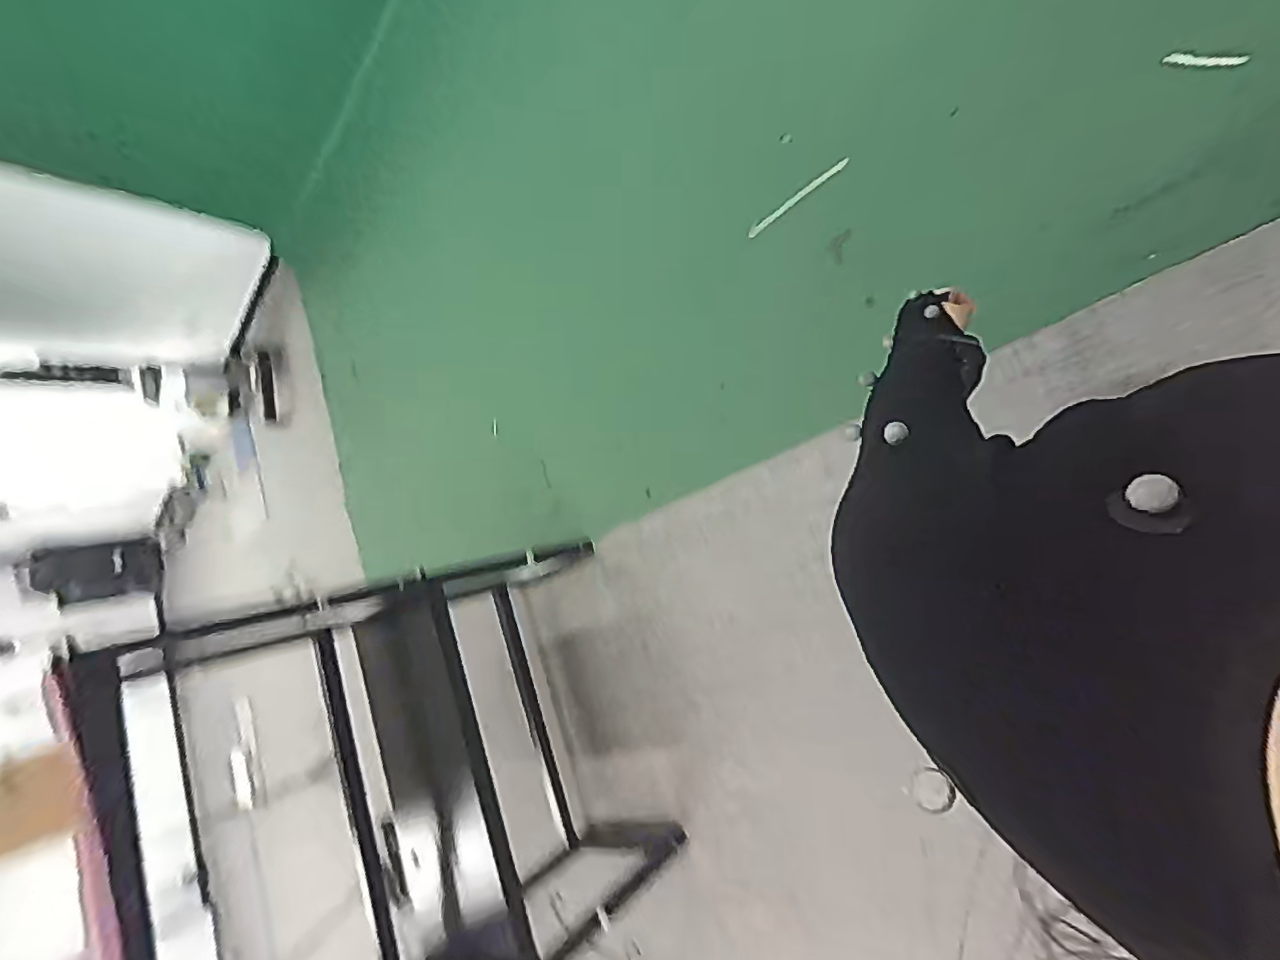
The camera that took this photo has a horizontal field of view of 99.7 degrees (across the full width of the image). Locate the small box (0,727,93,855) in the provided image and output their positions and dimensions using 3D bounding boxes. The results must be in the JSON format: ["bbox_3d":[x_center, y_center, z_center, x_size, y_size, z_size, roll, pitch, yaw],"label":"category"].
[{"bbox_3d":[-1.175,0.589,1.025,0.168,0.176,0.179,-22,82,43],"label":"small box"}]
